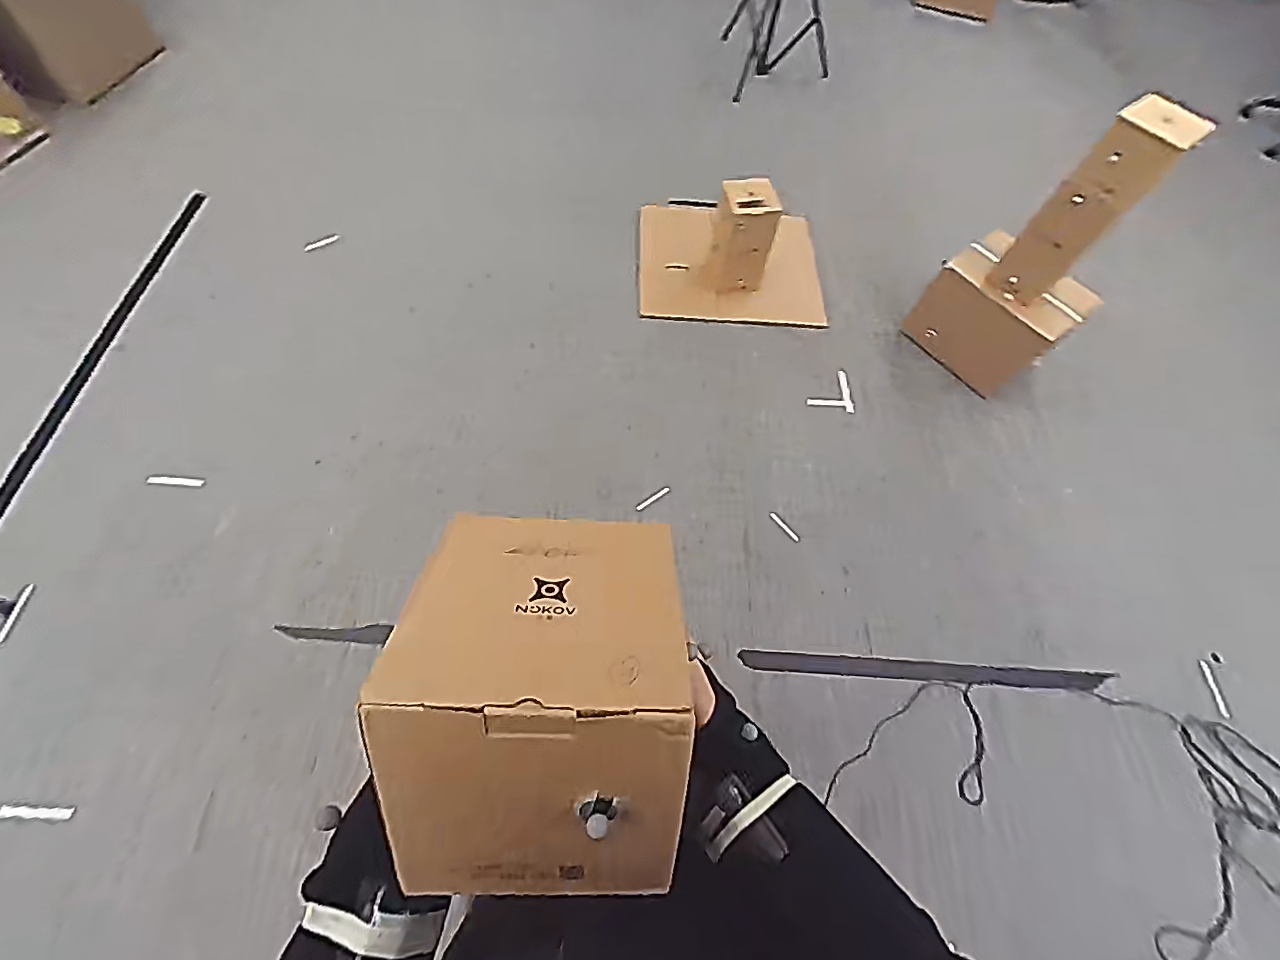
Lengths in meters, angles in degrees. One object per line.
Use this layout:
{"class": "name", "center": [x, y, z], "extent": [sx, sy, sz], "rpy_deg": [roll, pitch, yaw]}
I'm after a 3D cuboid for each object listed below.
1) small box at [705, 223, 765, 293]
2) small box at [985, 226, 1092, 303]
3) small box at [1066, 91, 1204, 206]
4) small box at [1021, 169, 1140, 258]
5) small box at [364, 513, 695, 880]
{"class": "small box", "center": [0.345, -0.817, 1.995], "extent": [0.168, 0.176, 0.179], "rpy_deg": [-6, 64, -5]}
{"class": "small box", "center": [1.208, -0.682, 1.654], "extent": [0.179, 0.176, 0.168], "rpy_deg": [-35, 70, -19]}
{"class": "small box", "center": [1.233, -0.831, 1.364], "extent": [0.179, 0.176, 0.168], "rpy_deg": [-35, 70, -20]}
{"class": "small box", "center": [1.222, -0.759, 1.510], "extent": [0.179, 0.176, 0.168], "rpy_deg": [-35, 70, -21]}
{"class": "small box", "center": [-0.059, 0.140, 0.373], "extent": [0.168, 0.176, 0.179], "rpy_deg": [3, 27, -4]}
